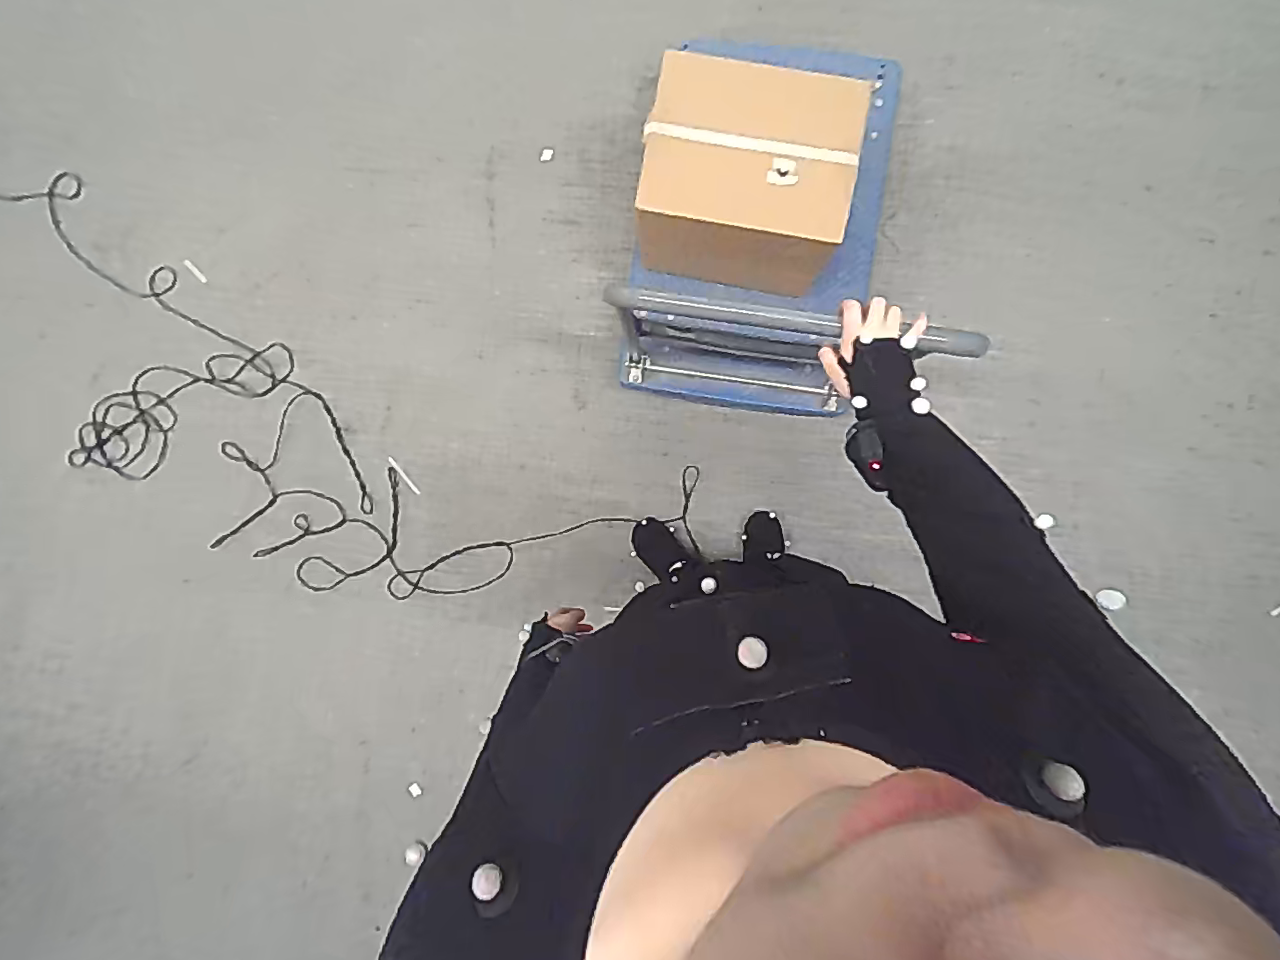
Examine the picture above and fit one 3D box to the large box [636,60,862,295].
[{"bbox_3d":[0.214,-0.641,1.201,0.408,0.320,0.320,11,90,2],"label":"large box"}]
